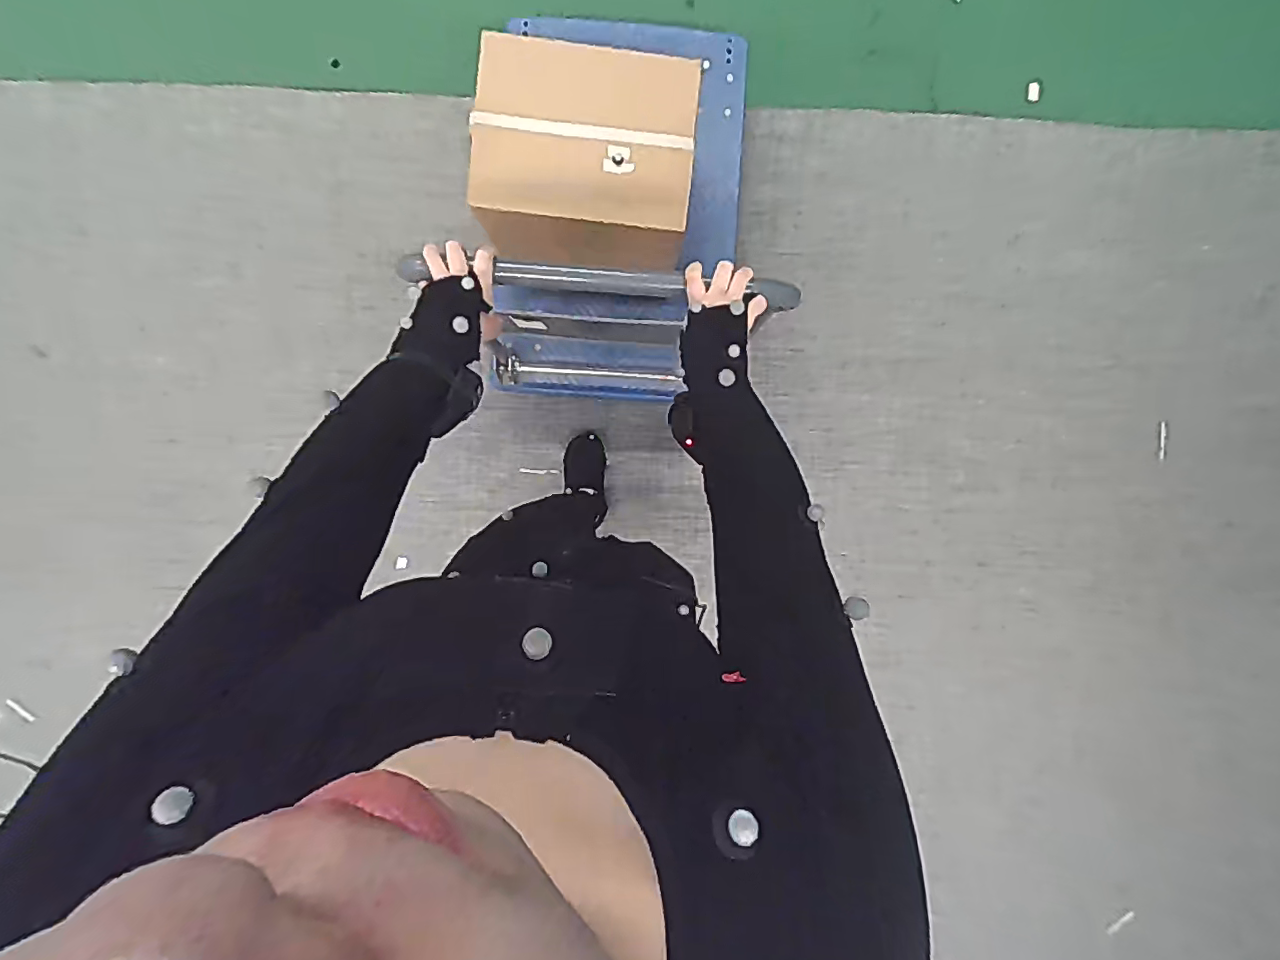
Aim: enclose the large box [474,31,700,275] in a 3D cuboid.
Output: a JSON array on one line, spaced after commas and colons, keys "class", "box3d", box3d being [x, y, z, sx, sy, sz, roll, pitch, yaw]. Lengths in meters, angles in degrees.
[{"class": "large box", "box3d": [-0.106, -0.658, 1.149, 0.408, 0.320, 0.320, 6, 92, -3]}]
